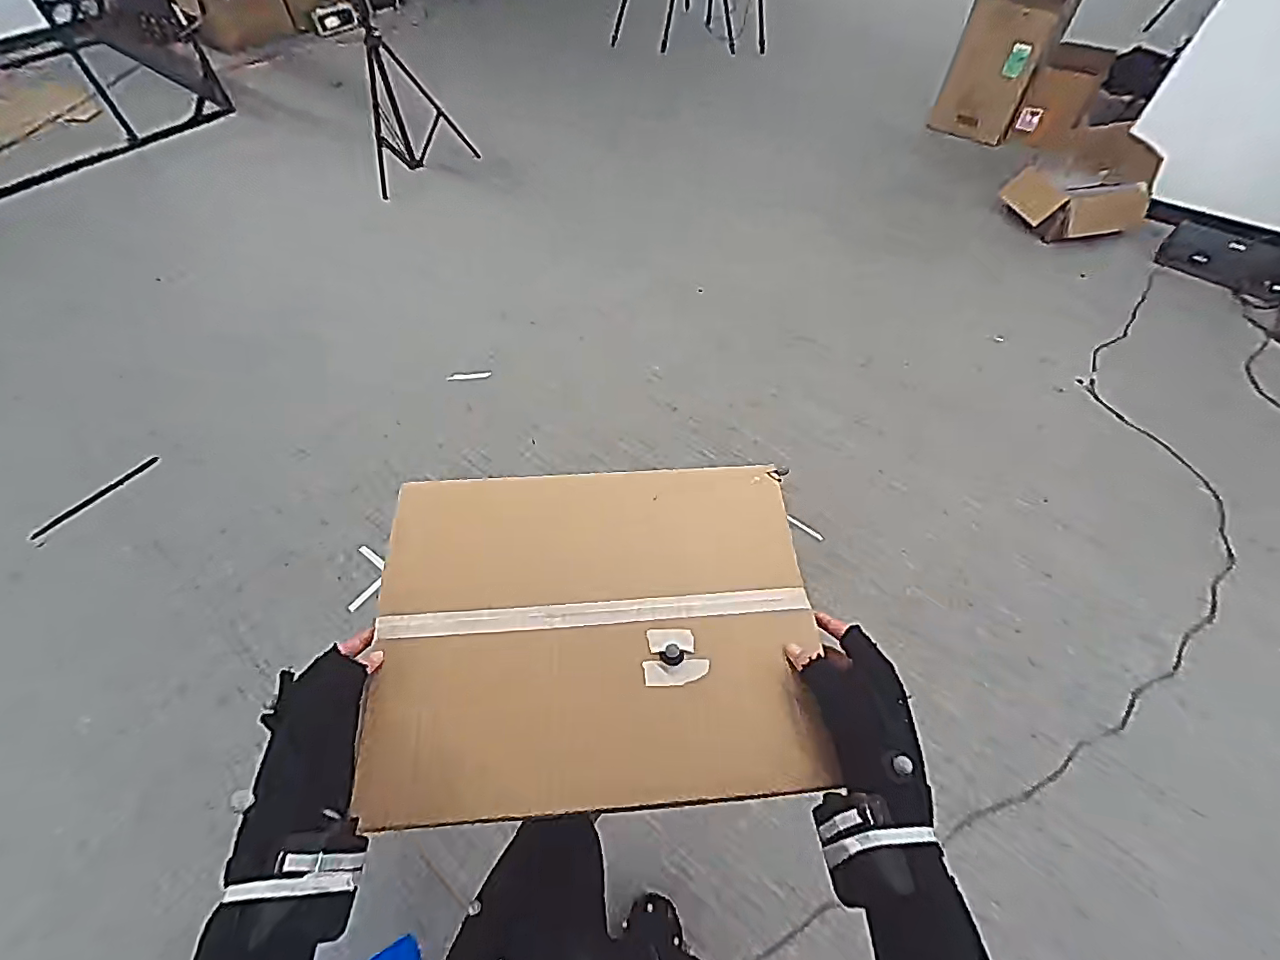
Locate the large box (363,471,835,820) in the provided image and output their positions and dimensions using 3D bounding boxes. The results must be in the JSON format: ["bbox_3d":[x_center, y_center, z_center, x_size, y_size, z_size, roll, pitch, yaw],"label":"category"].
[{"bbox_3d":[-0.046,0.209,0.652,0.408,0.320,0.320,-3,58,-4],"label":"large box"}]

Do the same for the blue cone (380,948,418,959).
[{"bbox_3d":[-0.515,0.967,0.923,0.192,0.380,0.193,-25,57,-15],"label":"blue cone"}]
